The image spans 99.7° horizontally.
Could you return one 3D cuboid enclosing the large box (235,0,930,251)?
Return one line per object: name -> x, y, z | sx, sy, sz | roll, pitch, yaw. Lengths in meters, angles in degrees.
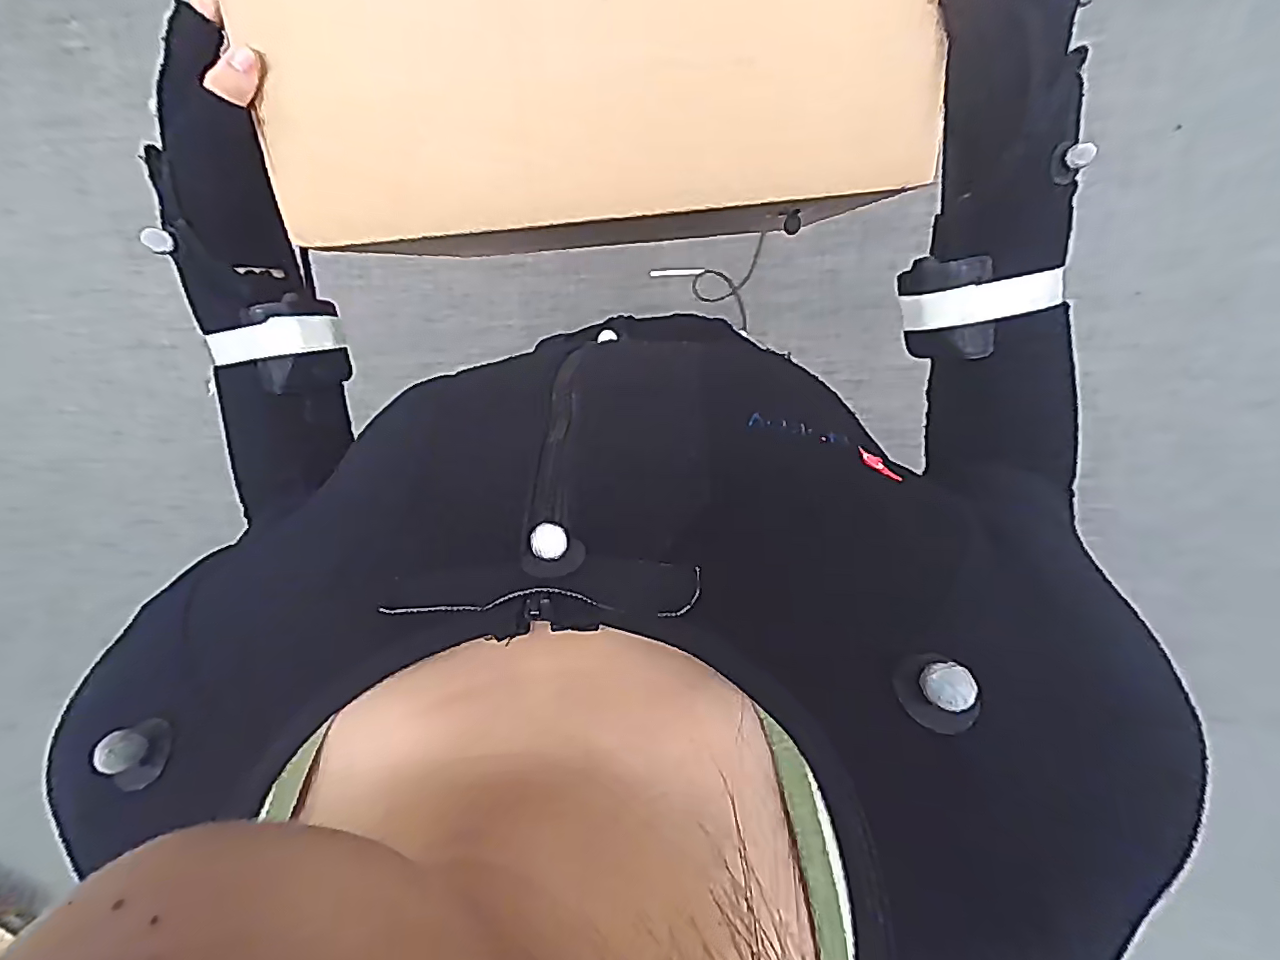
large box -> -0.032, -0.368, 0.432 | 0.408, 0.320, 0.320 | -4, 111, 4
